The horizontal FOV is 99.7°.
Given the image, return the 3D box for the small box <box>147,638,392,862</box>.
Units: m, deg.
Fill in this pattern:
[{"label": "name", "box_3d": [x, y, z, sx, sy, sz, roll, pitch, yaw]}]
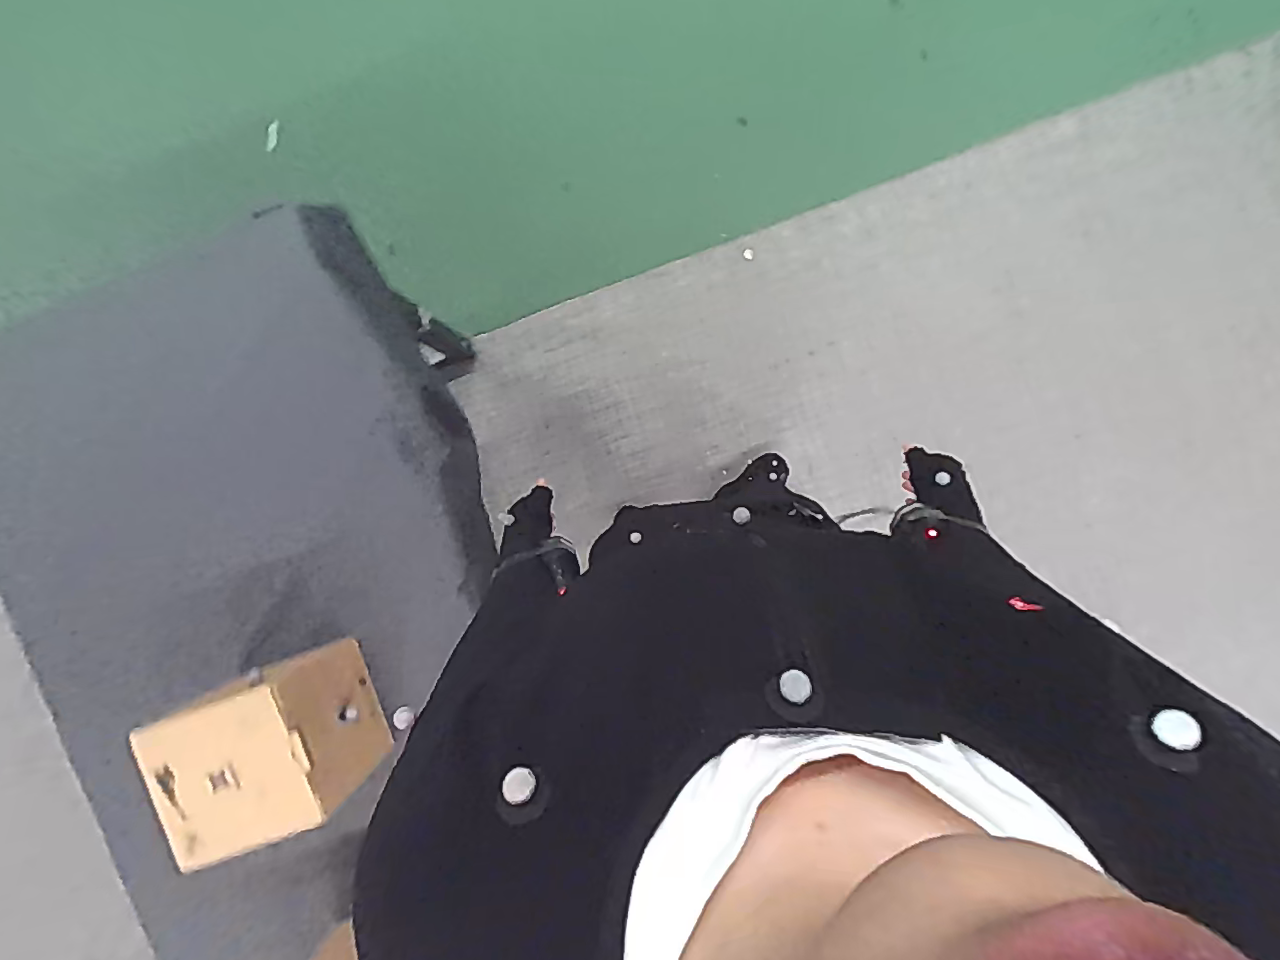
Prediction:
[{"label": "small box", "box_3d": [-0.444, 0.323, 0.685, 0.179, 0.176, 0.168, -21, 91, 2]}]
